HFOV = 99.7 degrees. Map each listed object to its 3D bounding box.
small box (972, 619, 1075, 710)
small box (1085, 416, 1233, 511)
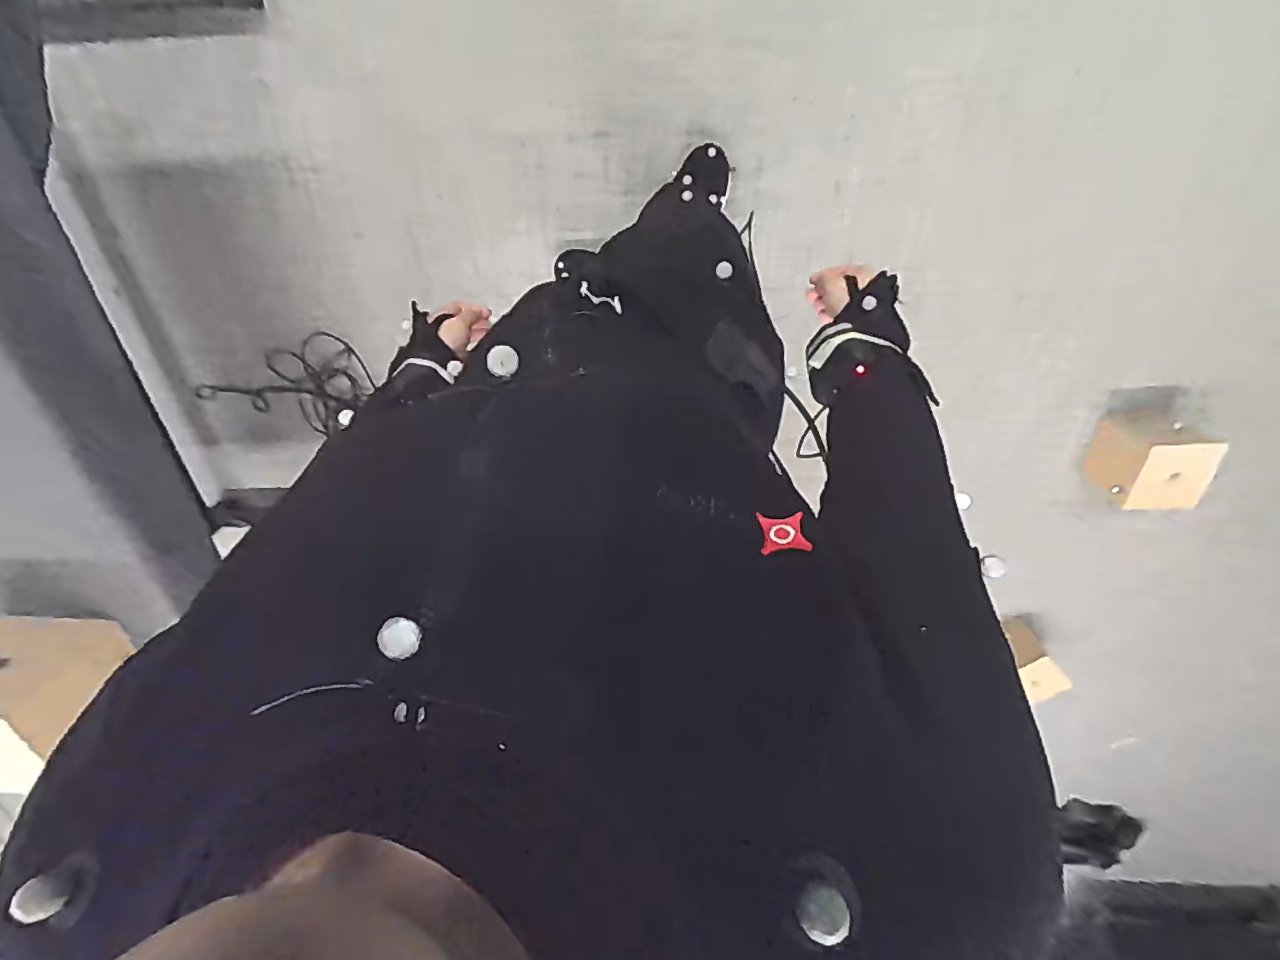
[{"bbox_3d":[1.177,0.566,1.669,0.168,0.176,0.179,-40,111,22],"label":"small box"},{"bbox_3d":[1.228,-0.046,1.299,0.168,0.176,0.179,-3,121,4],"label":"small box"}]
